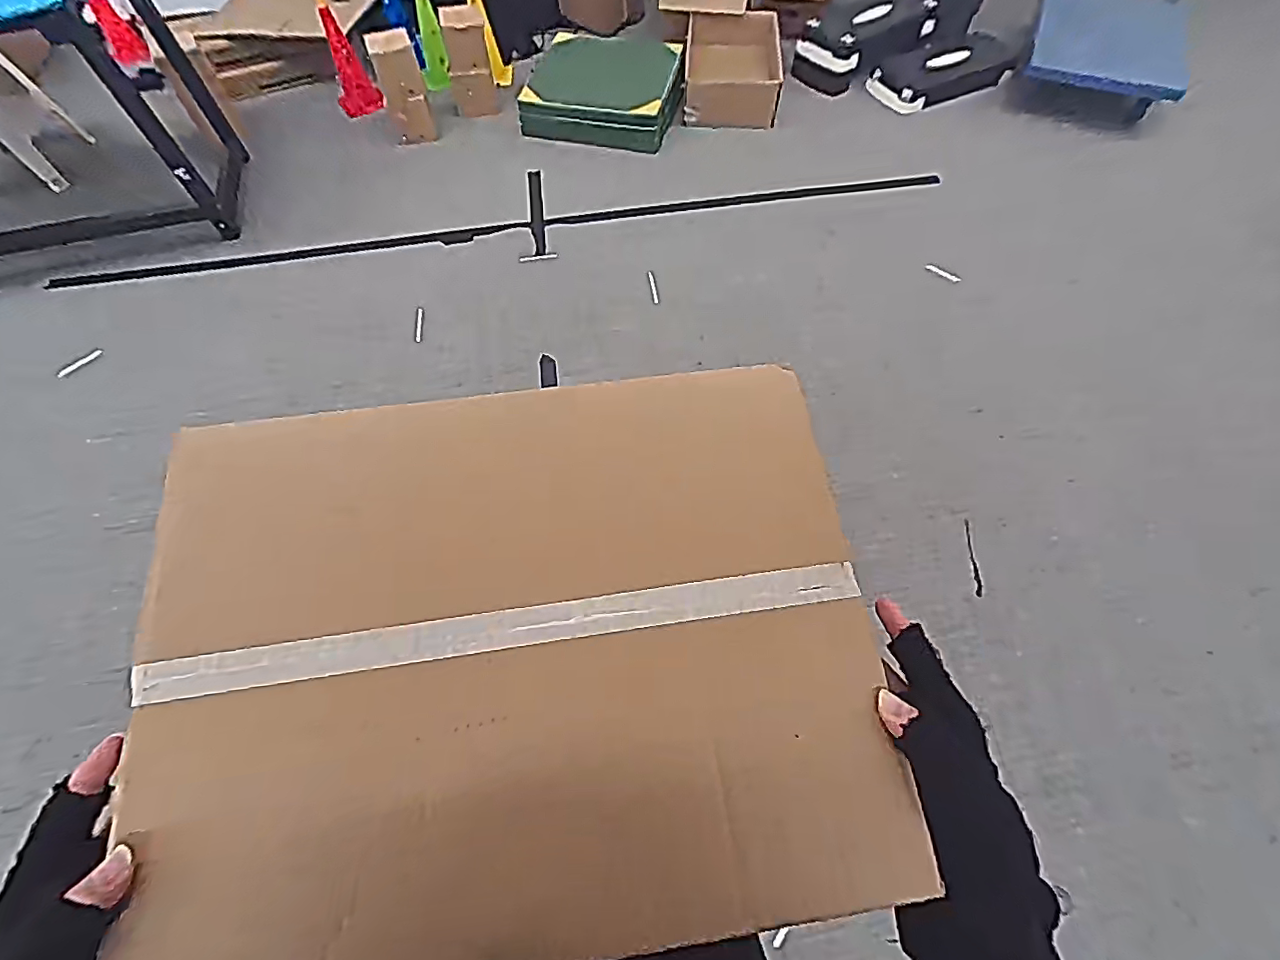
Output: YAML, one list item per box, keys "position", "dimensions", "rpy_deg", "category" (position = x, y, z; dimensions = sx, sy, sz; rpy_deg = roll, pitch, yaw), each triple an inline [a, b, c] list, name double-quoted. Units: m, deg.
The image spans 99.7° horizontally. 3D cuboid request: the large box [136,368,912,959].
- position: [-0.075, 0.140, 0.464]
  dimensions: [0.408, 0.320, 0.320]
  rpy_deg: [-7, 70, -4]
  category: "large box"
